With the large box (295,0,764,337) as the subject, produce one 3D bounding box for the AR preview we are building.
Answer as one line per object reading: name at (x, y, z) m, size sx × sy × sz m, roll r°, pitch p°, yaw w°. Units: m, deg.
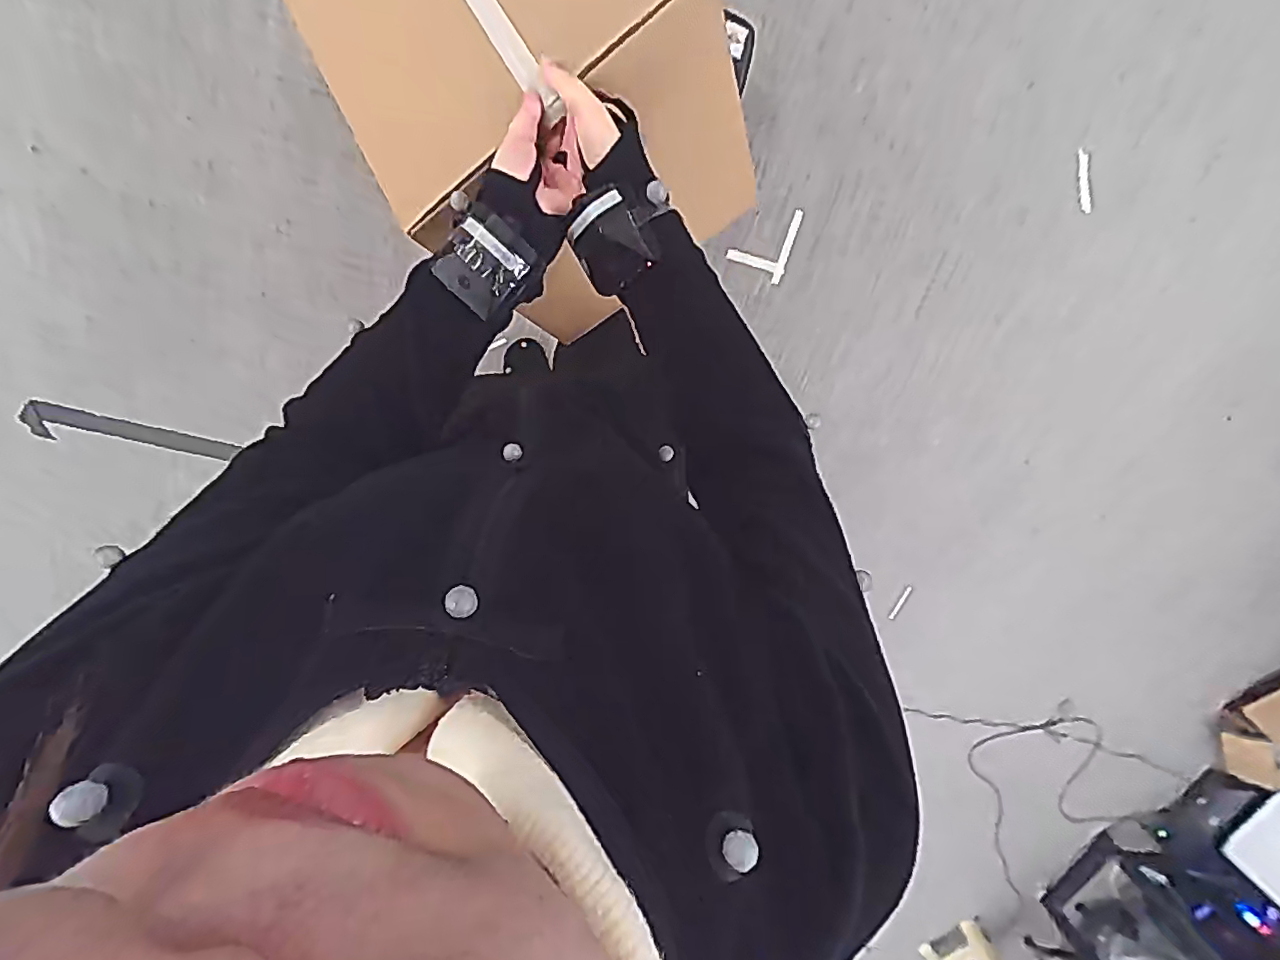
large box at (-0.111, -0.445, 0.608) m, size 0.320 × 0.320 × 0.408 m, roll -33°, pitch 76°, yaw 13°
